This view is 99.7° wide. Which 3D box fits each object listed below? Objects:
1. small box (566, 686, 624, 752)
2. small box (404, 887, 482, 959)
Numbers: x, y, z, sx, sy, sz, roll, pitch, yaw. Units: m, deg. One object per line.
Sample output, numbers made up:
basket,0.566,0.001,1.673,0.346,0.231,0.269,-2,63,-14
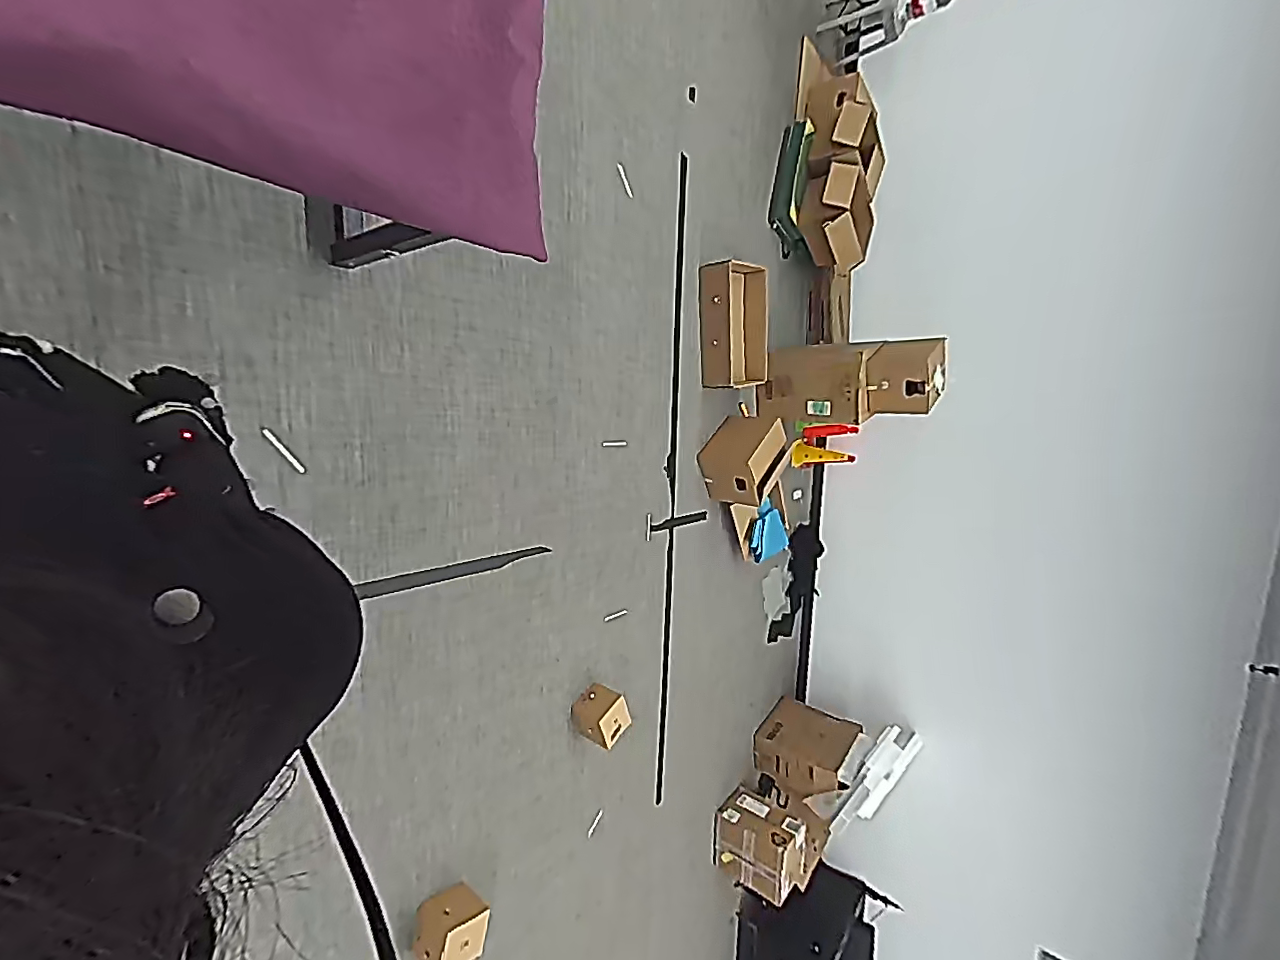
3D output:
small box,-0.197,1.037,2.365,0.168,0.176,0.179,-38,124,-42
small box,-0.678,1.553,1.850,0.179,0.176,0.168,13,87,-53
